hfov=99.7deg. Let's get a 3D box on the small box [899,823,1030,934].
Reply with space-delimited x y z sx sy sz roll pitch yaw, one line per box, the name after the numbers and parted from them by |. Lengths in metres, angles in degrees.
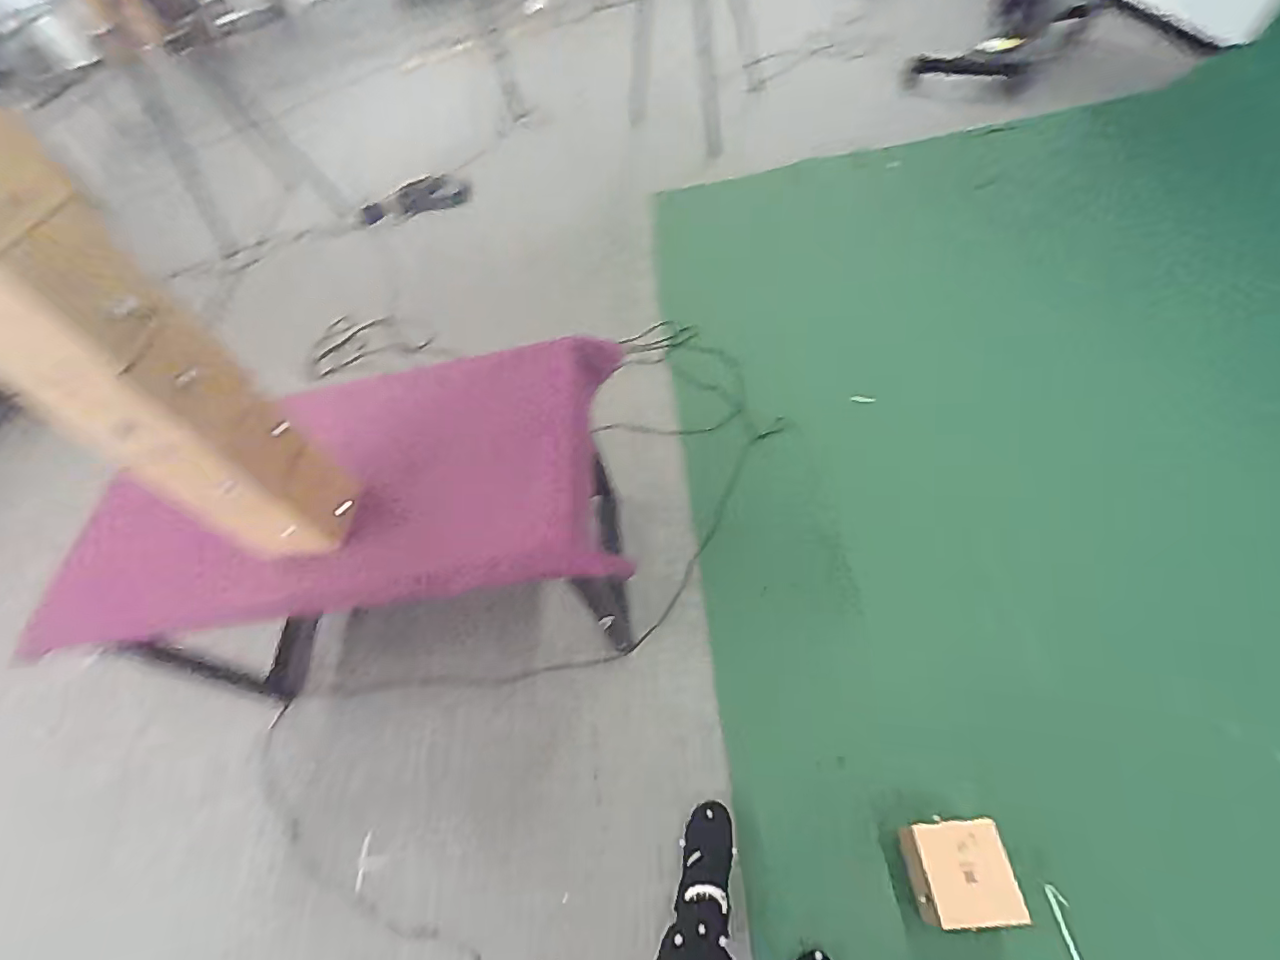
0.676 0.840 1.149 0.168 0.176 0.179 -8 54 6 | small box
